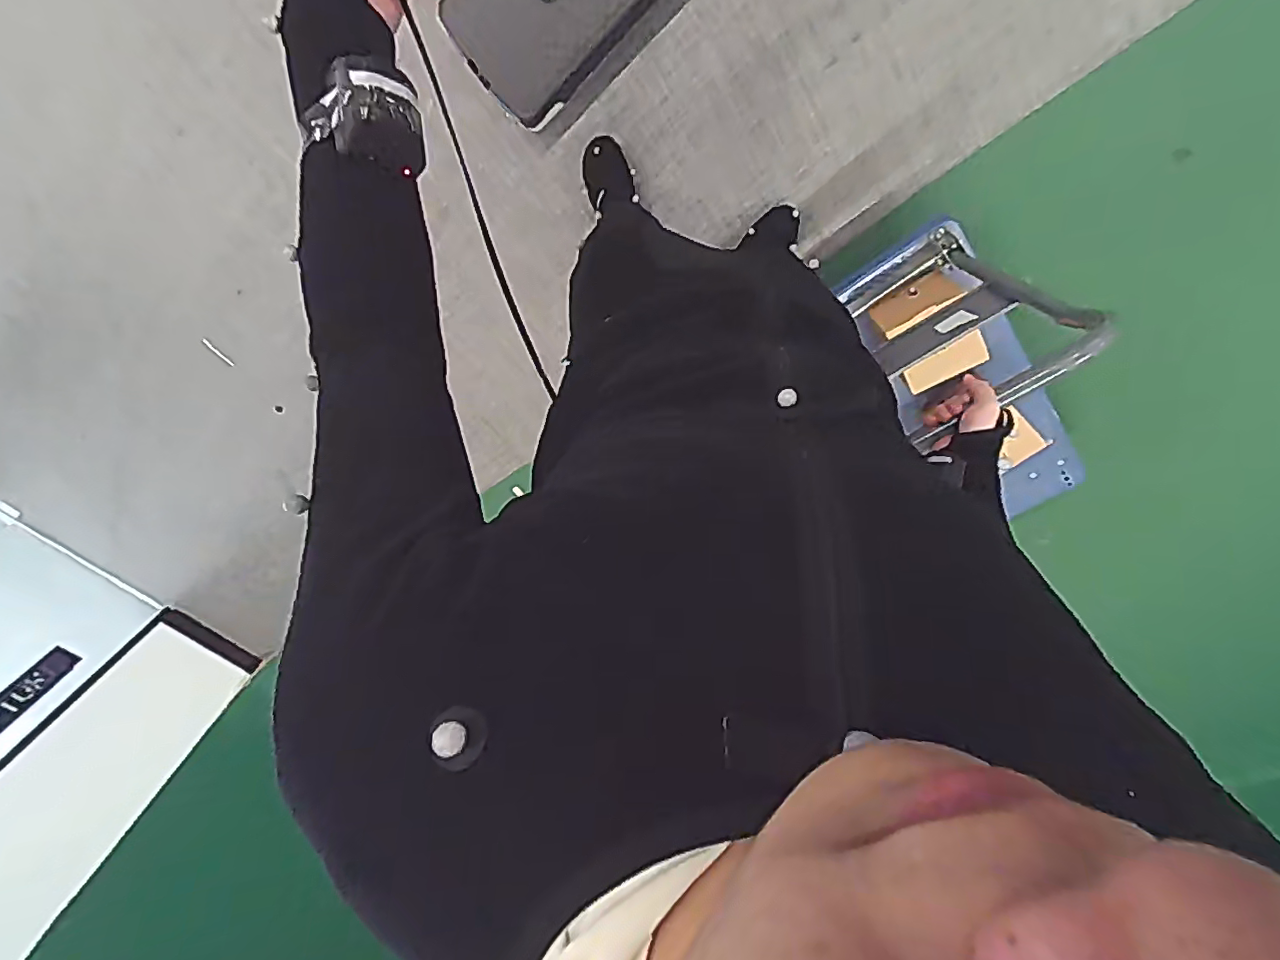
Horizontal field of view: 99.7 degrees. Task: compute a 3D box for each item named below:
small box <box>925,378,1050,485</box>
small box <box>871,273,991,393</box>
[{"bbox_3d":[0.838,-0.127,1.324,0.179,0.176,0.168,37,121,-18],"label":"small box"},{"bbox_3d":[0.644,-0.332,1.210,0.168,0.176,0.179,-27,117,23],"label":"small box"}]
